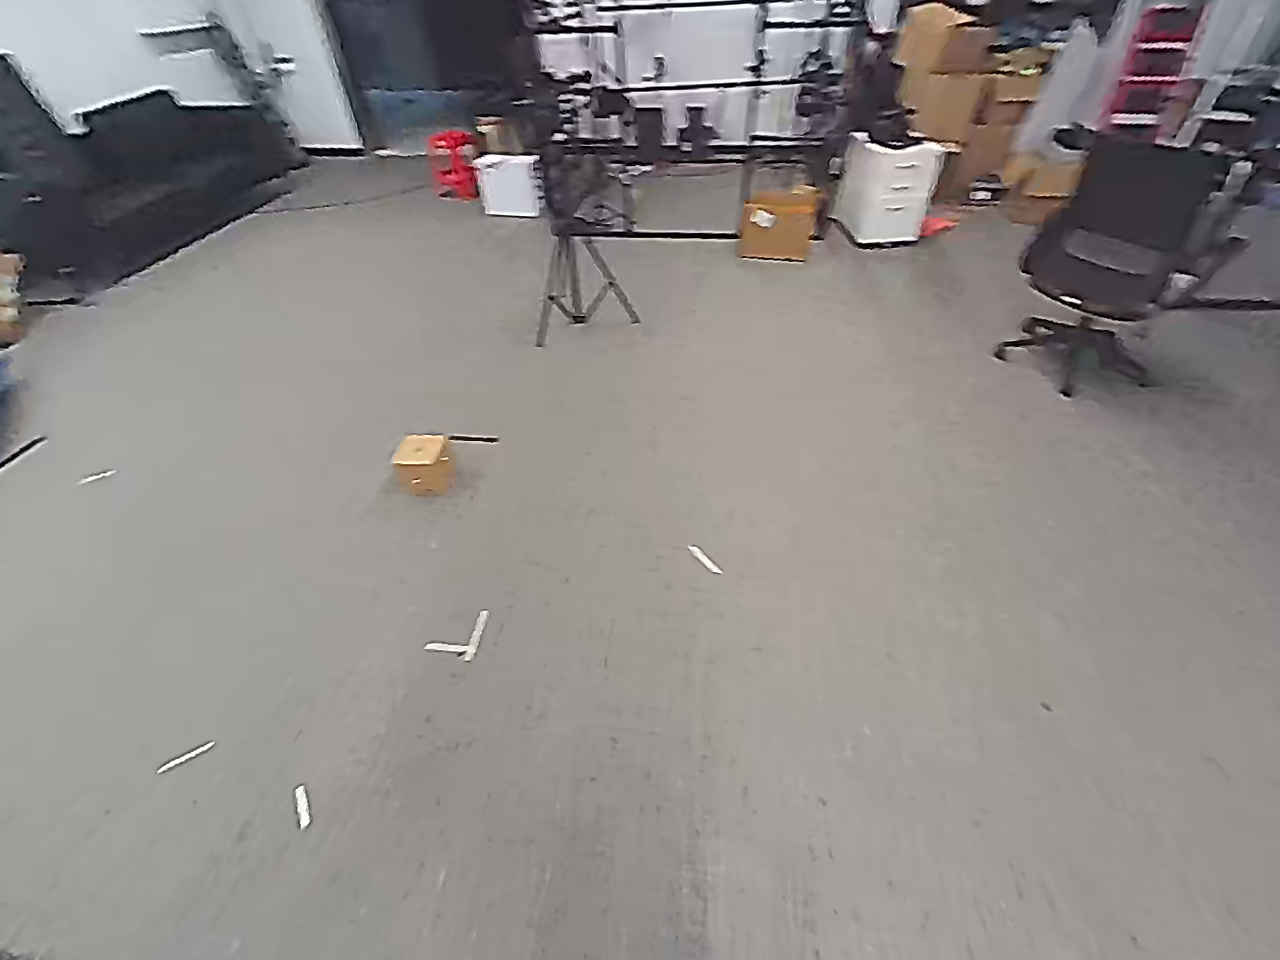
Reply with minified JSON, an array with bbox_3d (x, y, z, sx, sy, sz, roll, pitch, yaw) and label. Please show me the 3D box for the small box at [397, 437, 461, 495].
[{"bbox_3d":[-0.842,-0.054,2.176,0.168,0.176,0.179,2,43,5],"label":"small box"}]
